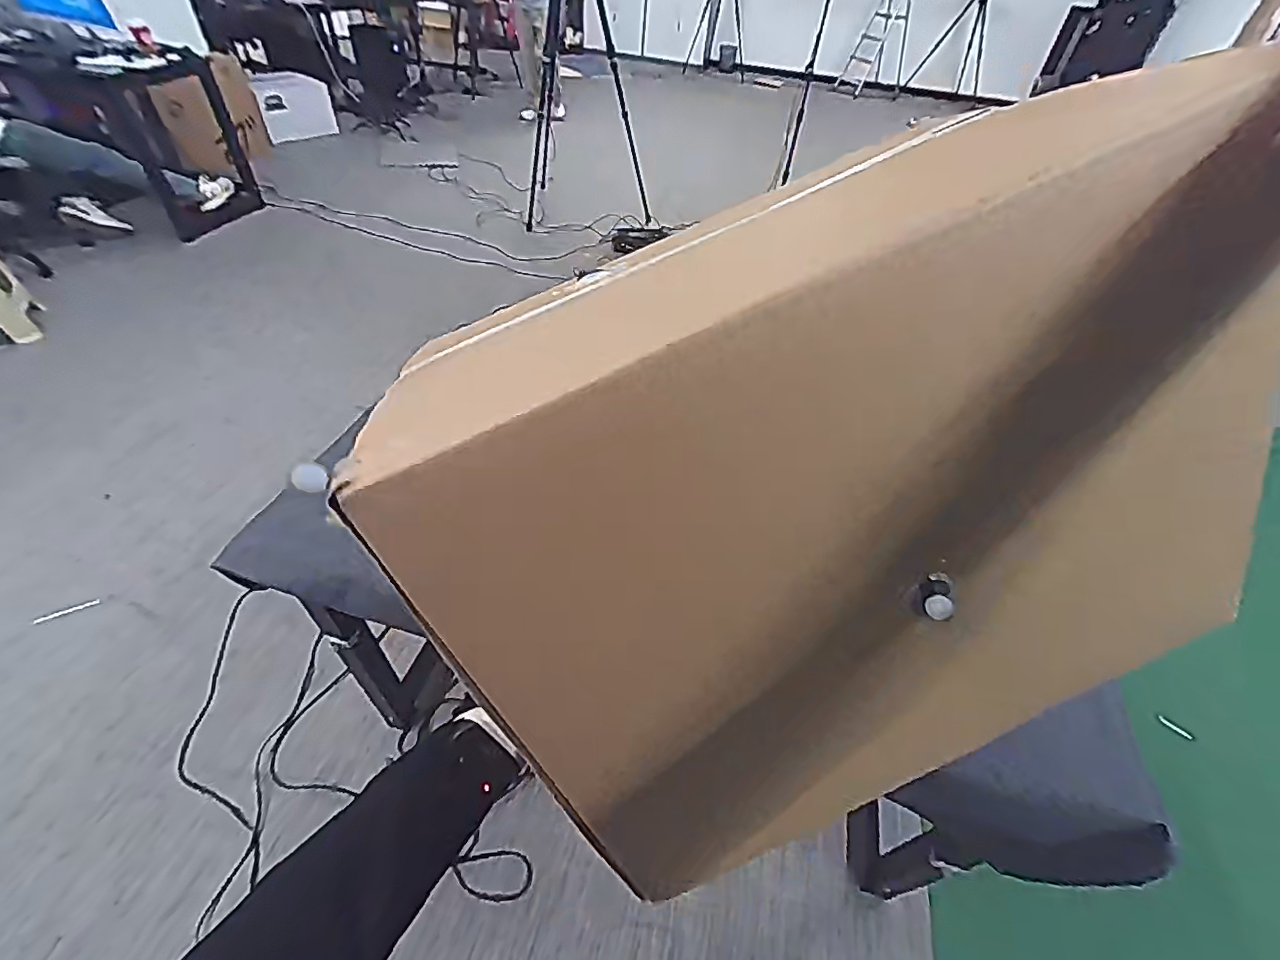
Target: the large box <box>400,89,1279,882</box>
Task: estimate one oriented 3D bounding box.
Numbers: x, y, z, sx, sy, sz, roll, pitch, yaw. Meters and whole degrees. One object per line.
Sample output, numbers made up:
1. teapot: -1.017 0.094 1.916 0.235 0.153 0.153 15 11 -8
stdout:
1. large box: 0.106 -0.010 0.408 0.408 0.320 0.320 -27 27 -3
